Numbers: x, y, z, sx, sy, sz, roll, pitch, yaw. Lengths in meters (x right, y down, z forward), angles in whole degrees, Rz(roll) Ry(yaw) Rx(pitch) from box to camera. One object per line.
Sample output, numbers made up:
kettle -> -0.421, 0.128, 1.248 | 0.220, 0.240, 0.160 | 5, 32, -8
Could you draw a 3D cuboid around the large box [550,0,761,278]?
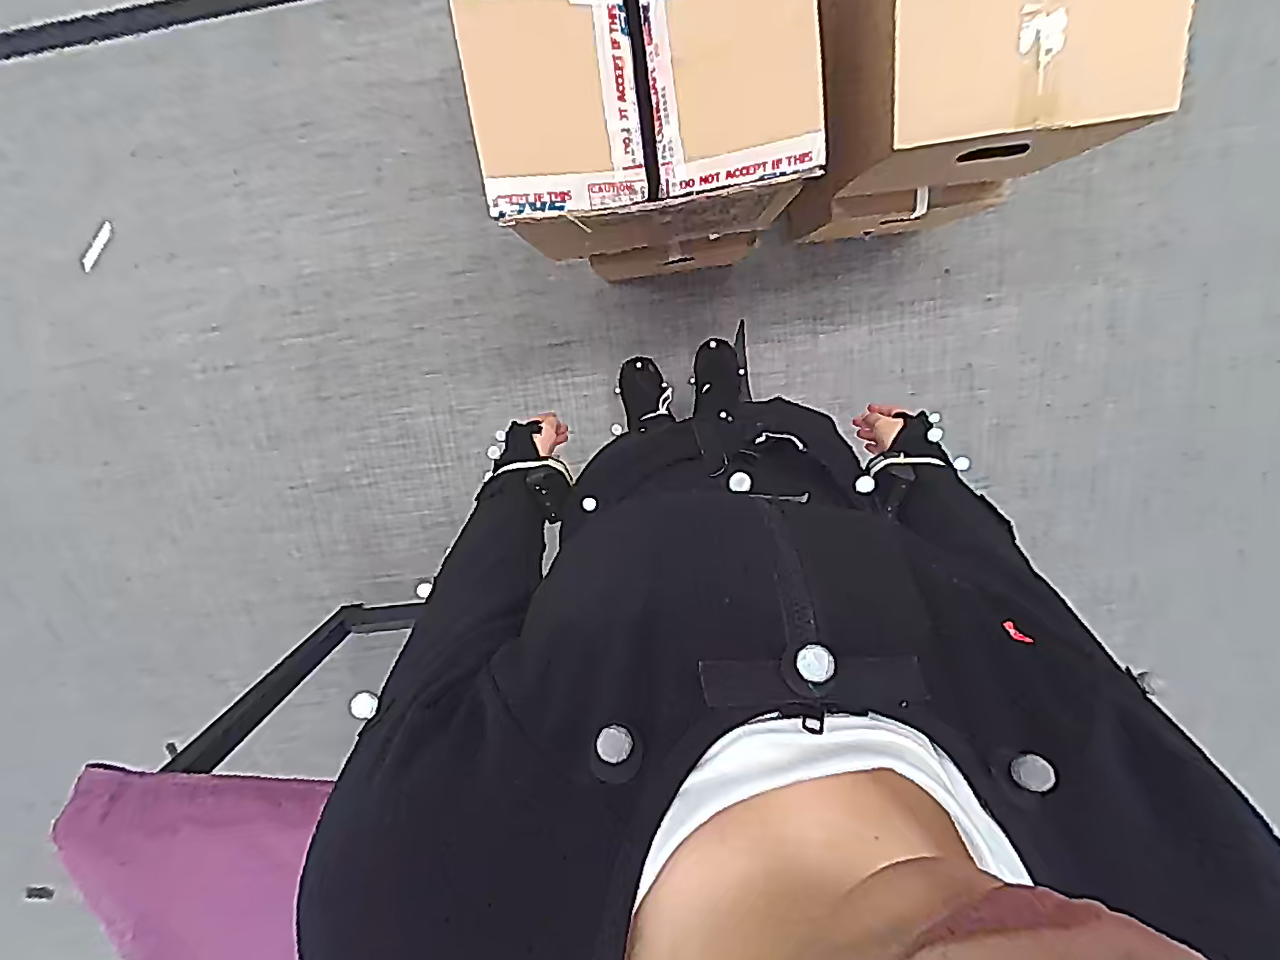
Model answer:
large box -> 0.037, -0.641, 1.065 | 0.320, 0.320, 0.408 | -8, 106, 4
